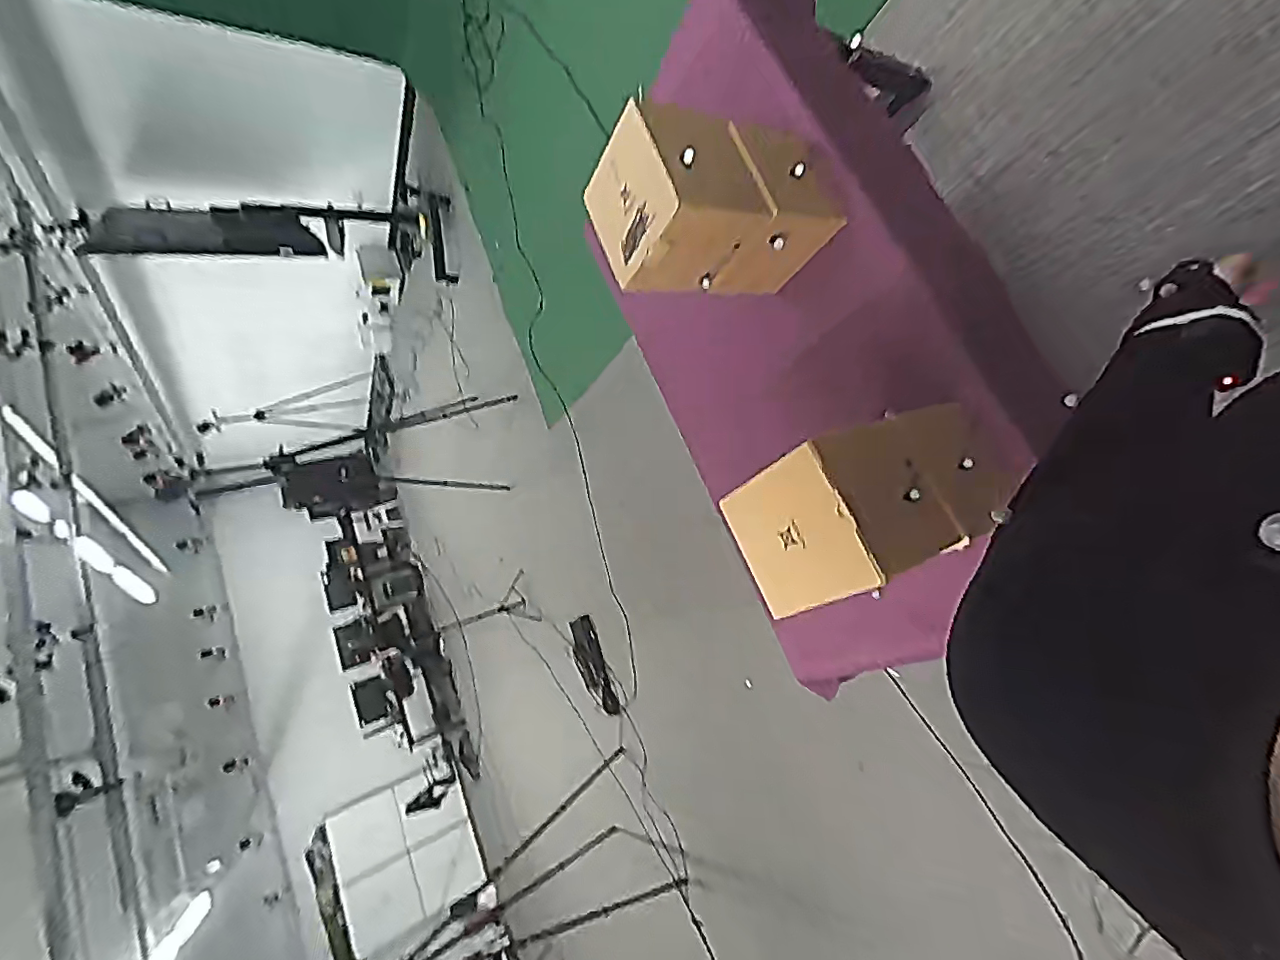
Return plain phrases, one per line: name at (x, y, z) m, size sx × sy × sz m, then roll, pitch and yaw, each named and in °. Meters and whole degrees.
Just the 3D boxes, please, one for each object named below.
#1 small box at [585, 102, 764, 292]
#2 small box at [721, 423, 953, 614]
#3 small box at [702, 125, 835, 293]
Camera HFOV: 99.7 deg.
small box at (0.049, -0.398, 0.786) m, size 0.168 × 0.176 × 0.179 m, roll -37°, pitch 70°, yaw 53°
small box at (0.240, 0.047, 0.674) m, size 0.179 × 0.176 × 0.168 m, roll -43°, pitch 67°, yaw 52°
small box at (0.185, -0.425, 0.875) m, size 0.179 × 0.176 × 0.168 m, roll -39°, pitch 69°, yaw 53°
